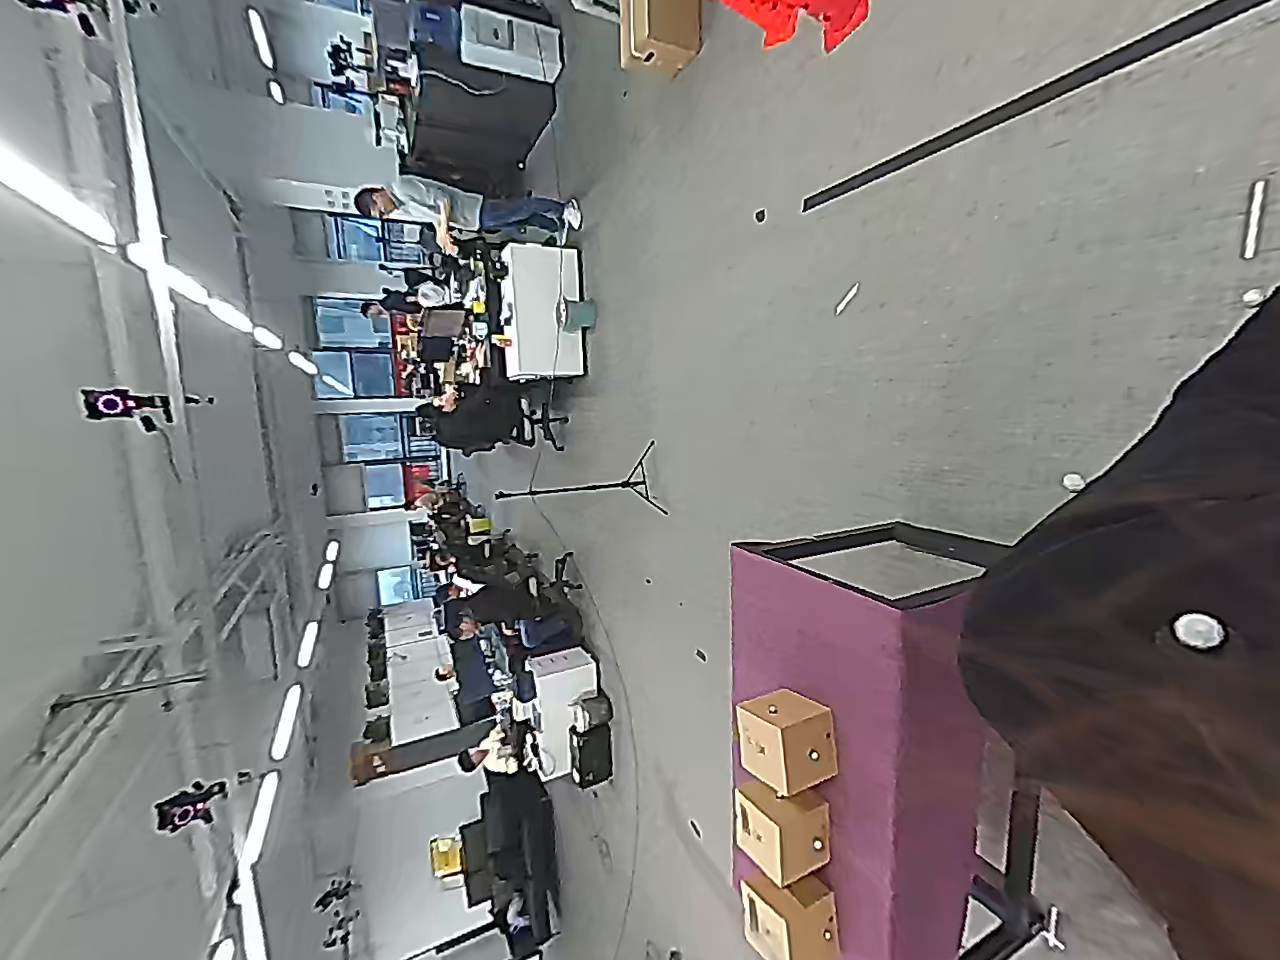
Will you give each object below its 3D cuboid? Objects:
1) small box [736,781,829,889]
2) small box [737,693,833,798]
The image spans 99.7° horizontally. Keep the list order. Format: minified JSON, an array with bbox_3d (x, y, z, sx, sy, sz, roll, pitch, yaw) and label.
[{"bbox_3d":[0.374,0.912,1.426,0.179,0.176,0.168,7,101,63],"label":"small box"},{"bbox_3d":[0.372,0.663,1.377,0.179,0.176,0.168,-5,90,64],"label":"small box"}]
